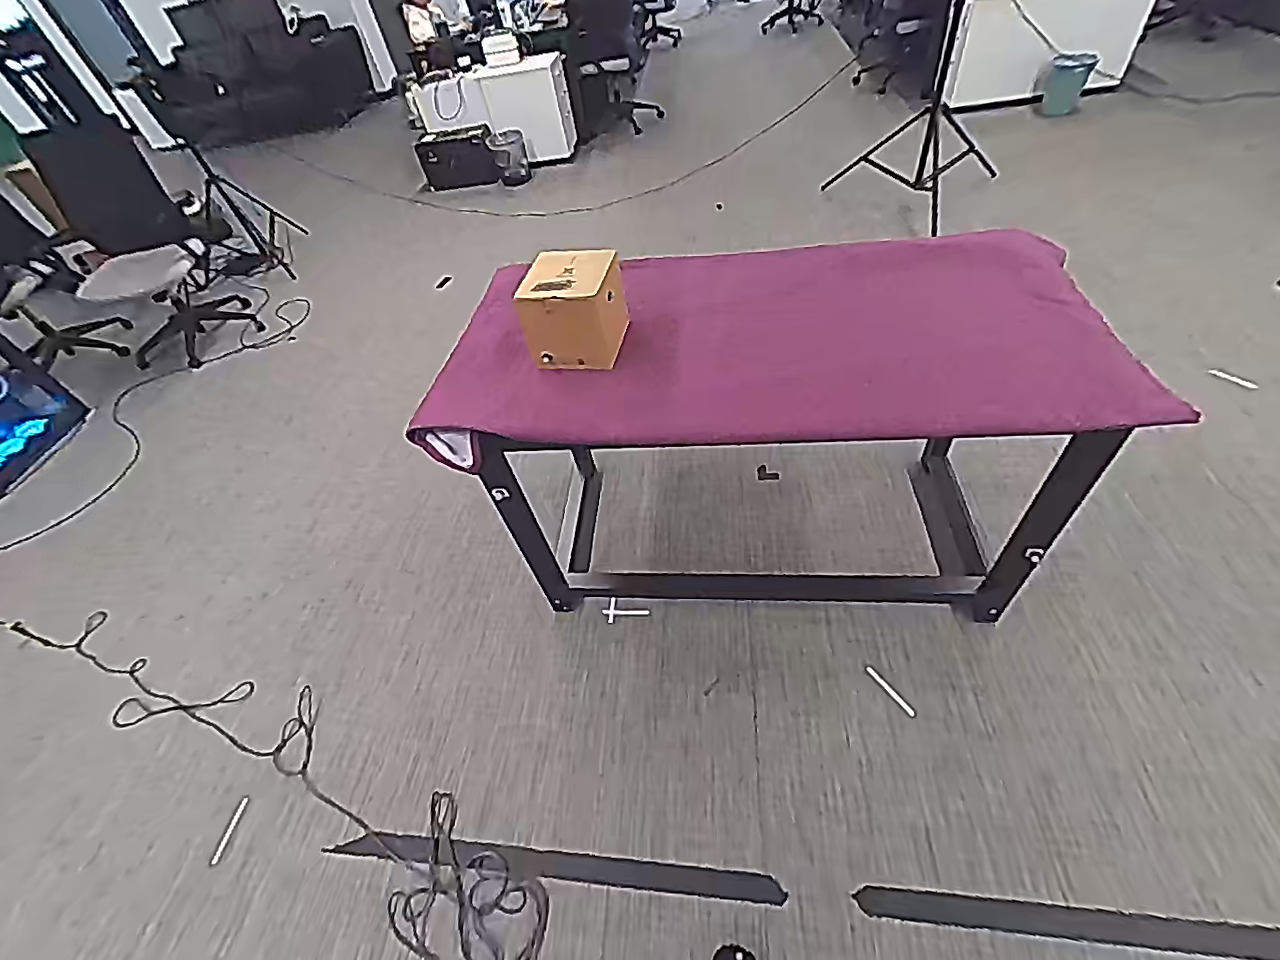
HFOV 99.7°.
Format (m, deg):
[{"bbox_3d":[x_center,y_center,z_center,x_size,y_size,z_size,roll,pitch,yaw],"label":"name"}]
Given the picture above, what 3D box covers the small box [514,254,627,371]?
[{"bbox_3d":[-0.131,-0.339,1.108,0.168,0.176,0.179,4,50,13],"label":"small box"}]
